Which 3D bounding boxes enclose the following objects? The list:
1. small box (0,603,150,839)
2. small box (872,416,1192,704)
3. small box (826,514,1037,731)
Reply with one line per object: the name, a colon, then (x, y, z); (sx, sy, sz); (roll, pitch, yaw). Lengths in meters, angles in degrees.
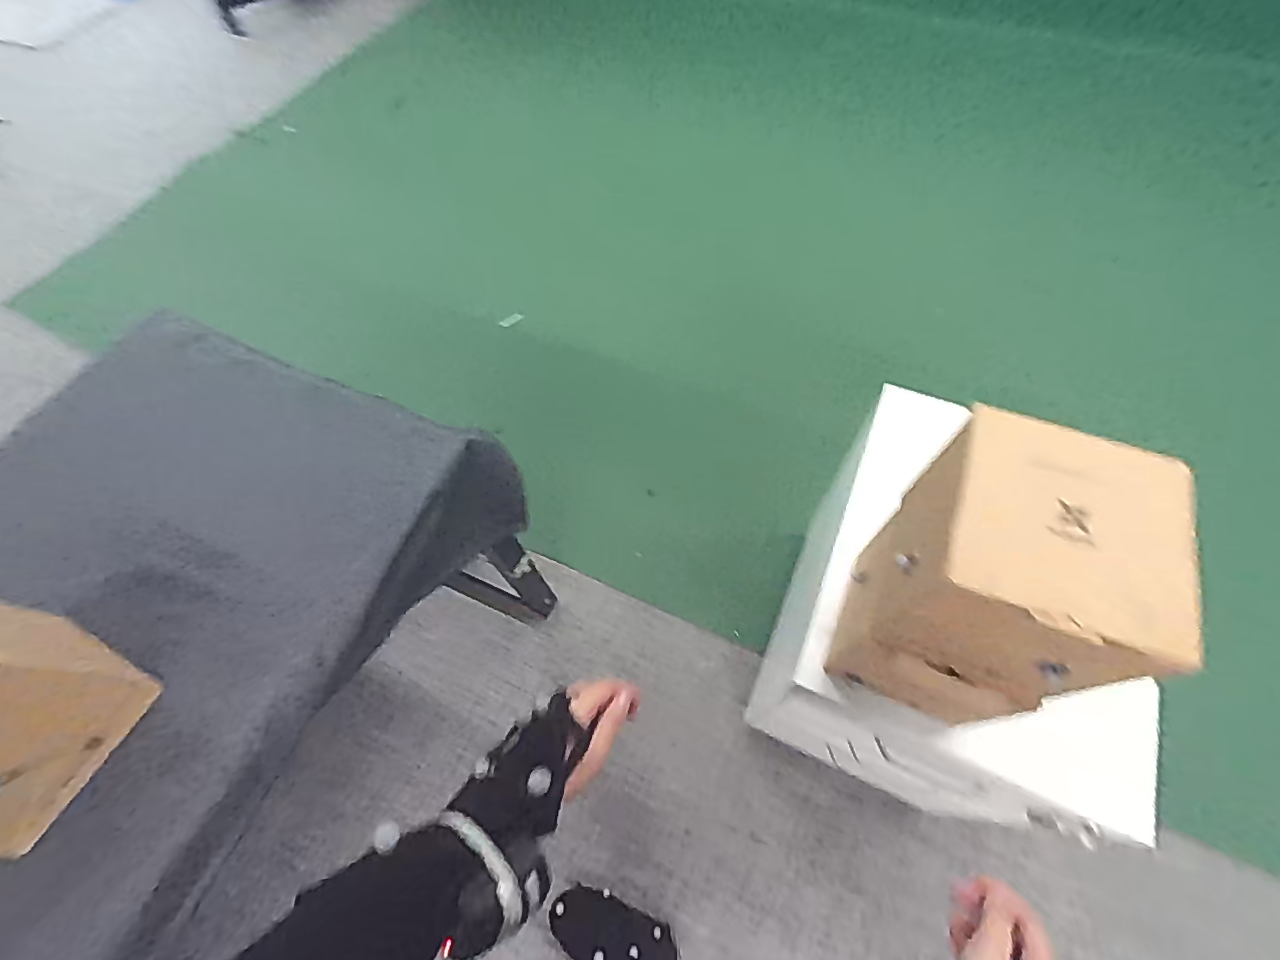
small box: (-0.618, 0.211, 0.486); (0.179, 0.176, 0.168); (23, 65, 15)
small box: (0.329, 0.079, 0.485); (0.168, 0.176, 0.179); (21, 62, 11)
small box: (0.331, 0.167, 0.622); (0.168, 0.176, 0.179); (22, 63, 13)
